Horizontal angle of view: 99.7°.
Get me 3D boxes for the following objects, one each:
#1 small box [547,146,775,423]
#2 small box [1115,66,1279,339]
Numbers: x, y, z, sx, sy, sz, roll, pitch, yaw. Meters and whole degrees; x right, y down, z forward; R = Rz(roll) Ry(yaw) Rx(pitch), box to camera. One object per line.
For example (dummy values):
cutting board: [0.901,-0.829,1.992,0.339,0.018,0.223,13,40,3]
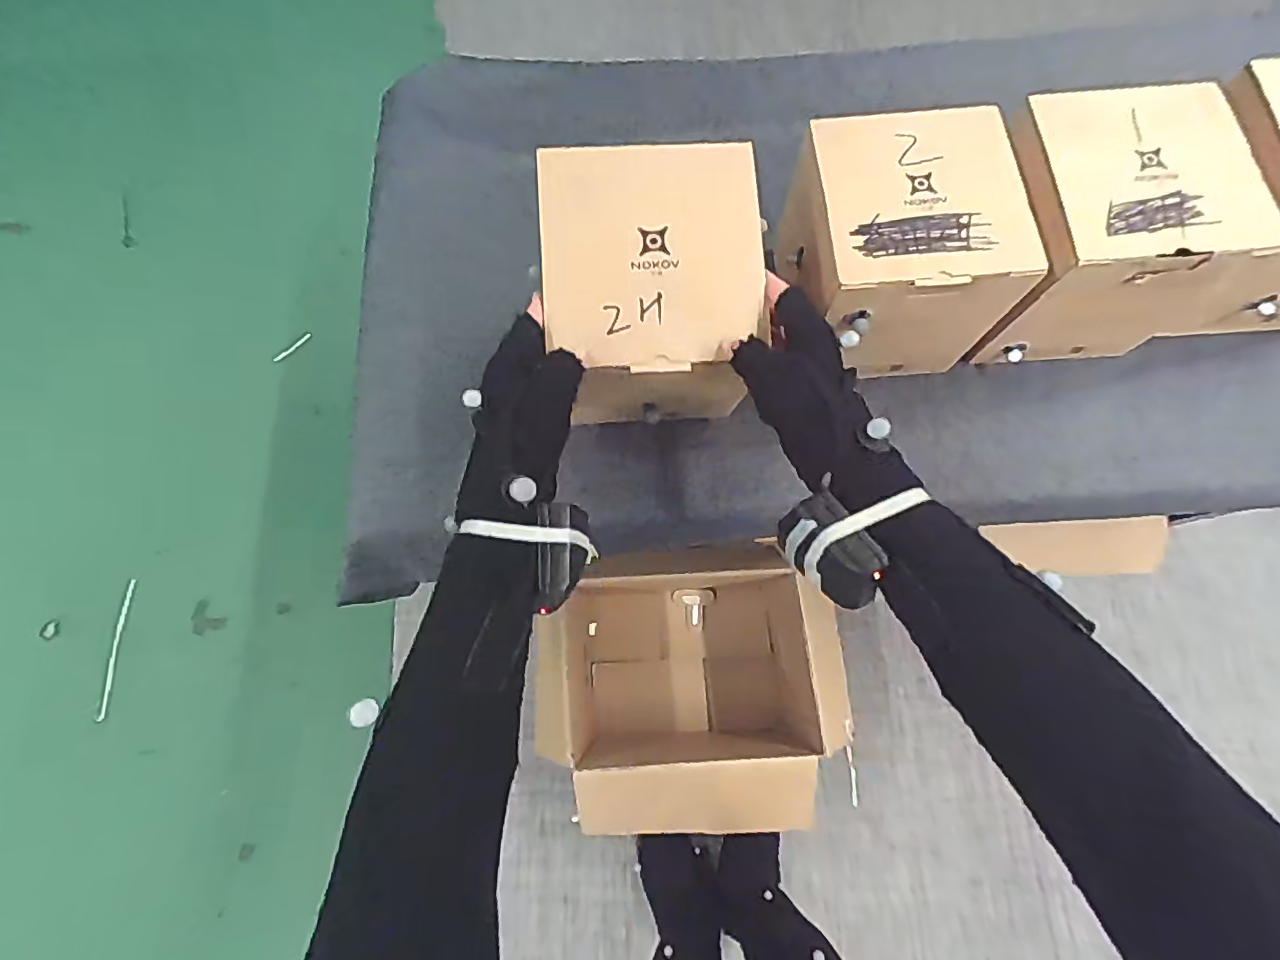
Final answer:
small box: [0.010,-0.157,0.479,0.168,0.176,0.179,-3,83,-2]
small box: [0.621,-0.258,0.524,0.168,0.176,0.179,-3,74,2]
